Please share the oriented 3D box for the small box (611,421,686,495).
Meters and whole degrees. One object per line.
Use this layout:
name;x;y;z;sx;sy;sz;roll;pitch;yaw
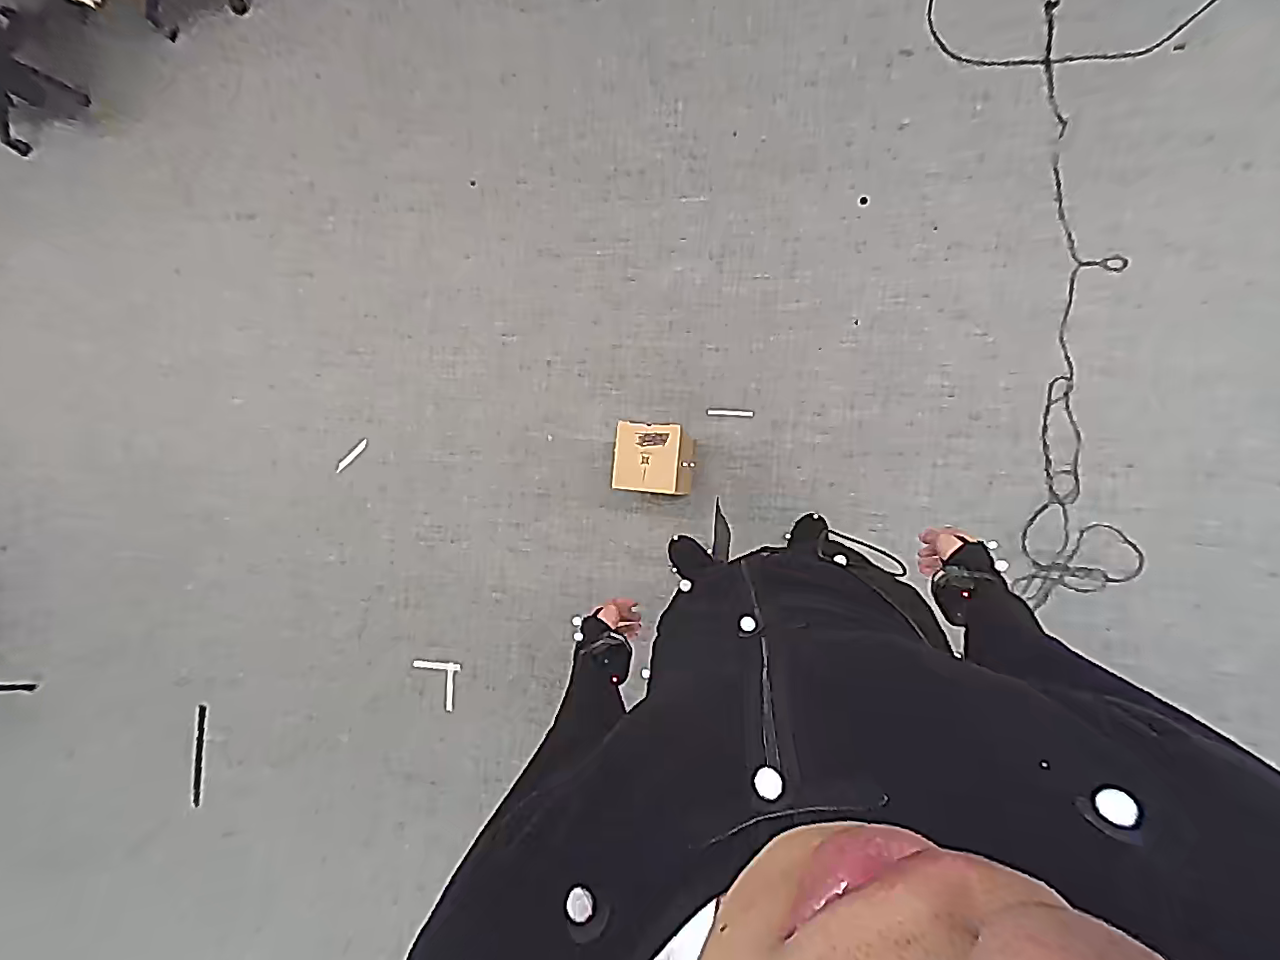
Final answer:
small box;0.028;-0.055;1.443;0.168;0.176;0.179;5;89;12
